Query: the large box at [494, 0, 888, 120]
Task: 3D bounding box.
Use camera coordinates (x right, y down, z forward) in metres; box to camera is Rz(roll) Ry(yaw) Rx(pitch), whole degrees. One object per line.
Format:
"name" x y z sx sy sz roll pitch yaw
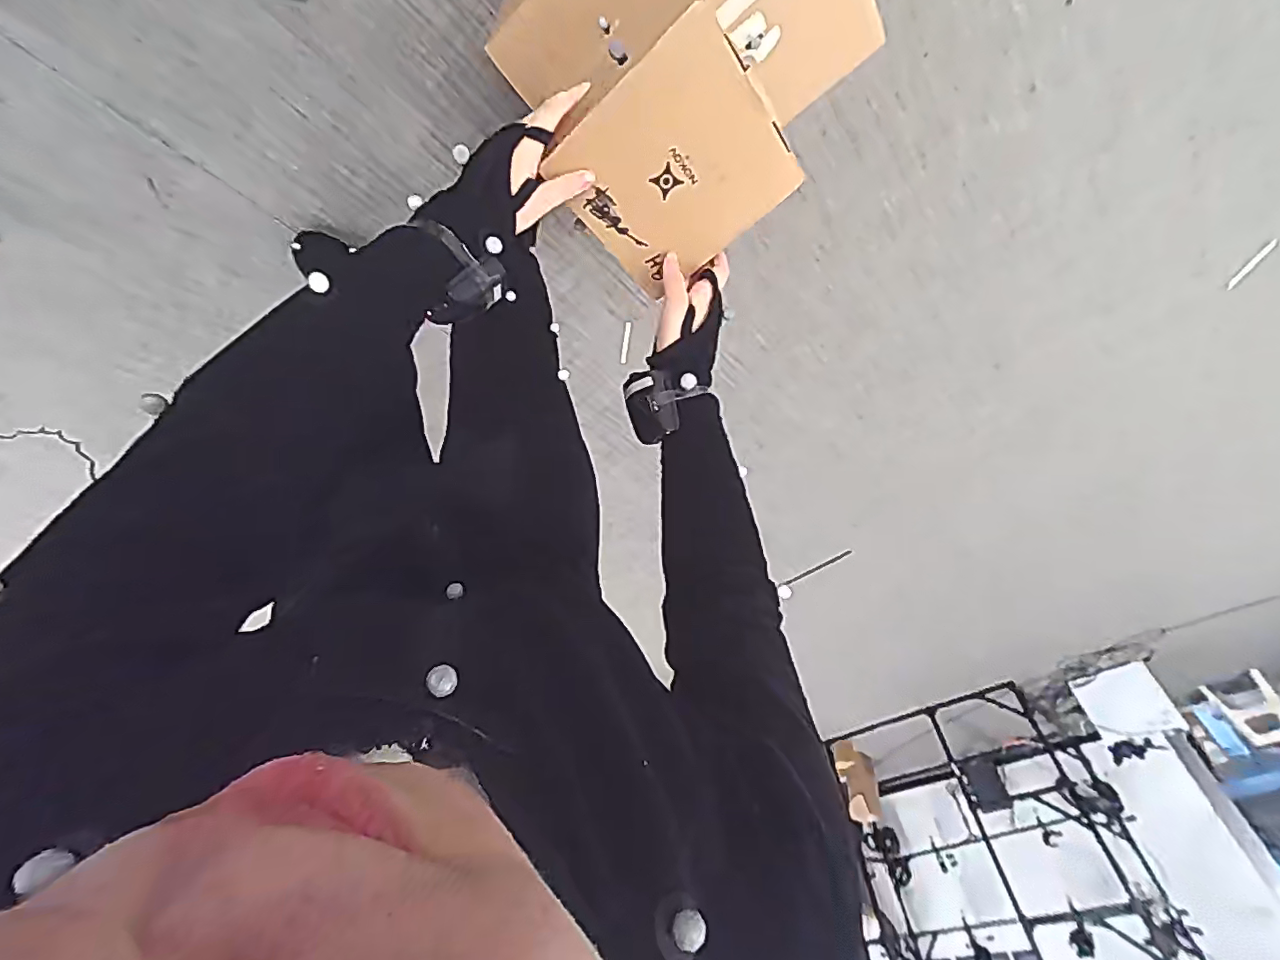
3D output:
"large box" 0.050 -0.660 0.761 0.408 0.320 0.320 -31 134 23

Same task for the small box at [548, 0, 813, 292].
"small box" 0.029 -0.327 0.514 0.179 0.176 0.168 -33 130 24
